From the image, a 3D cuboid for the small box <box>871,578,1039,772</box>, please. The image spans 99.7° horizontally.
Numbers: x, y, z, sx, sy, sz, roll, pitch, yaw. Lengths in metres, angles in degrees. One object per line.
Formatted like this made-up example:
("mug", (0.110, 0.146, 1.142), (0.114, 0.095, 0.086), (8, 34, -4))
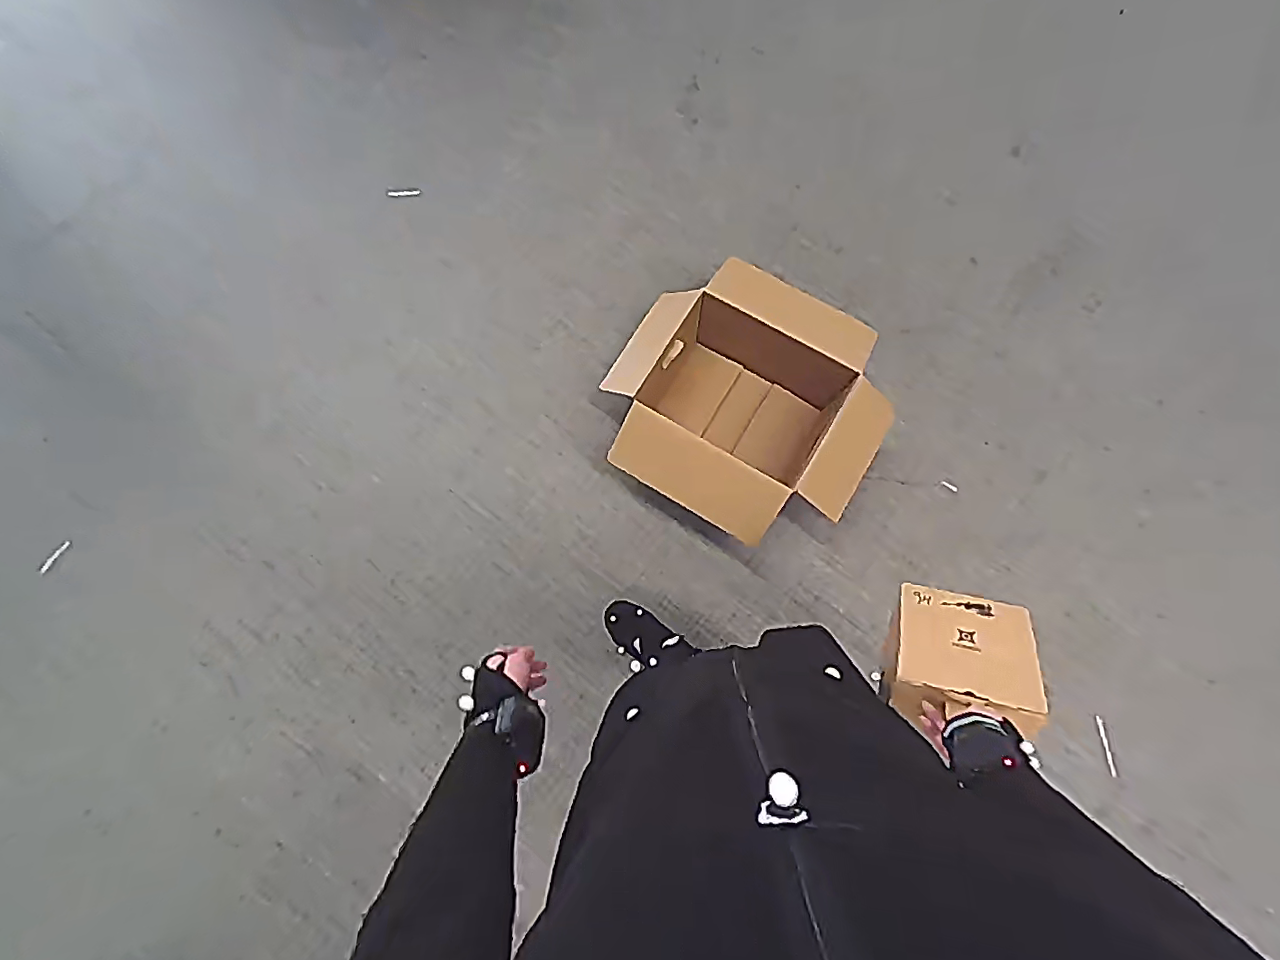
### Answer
("small box", (0.435, 0.276, 0.770), (0.168, 0.176, 0.179), (12, 40, 21))
